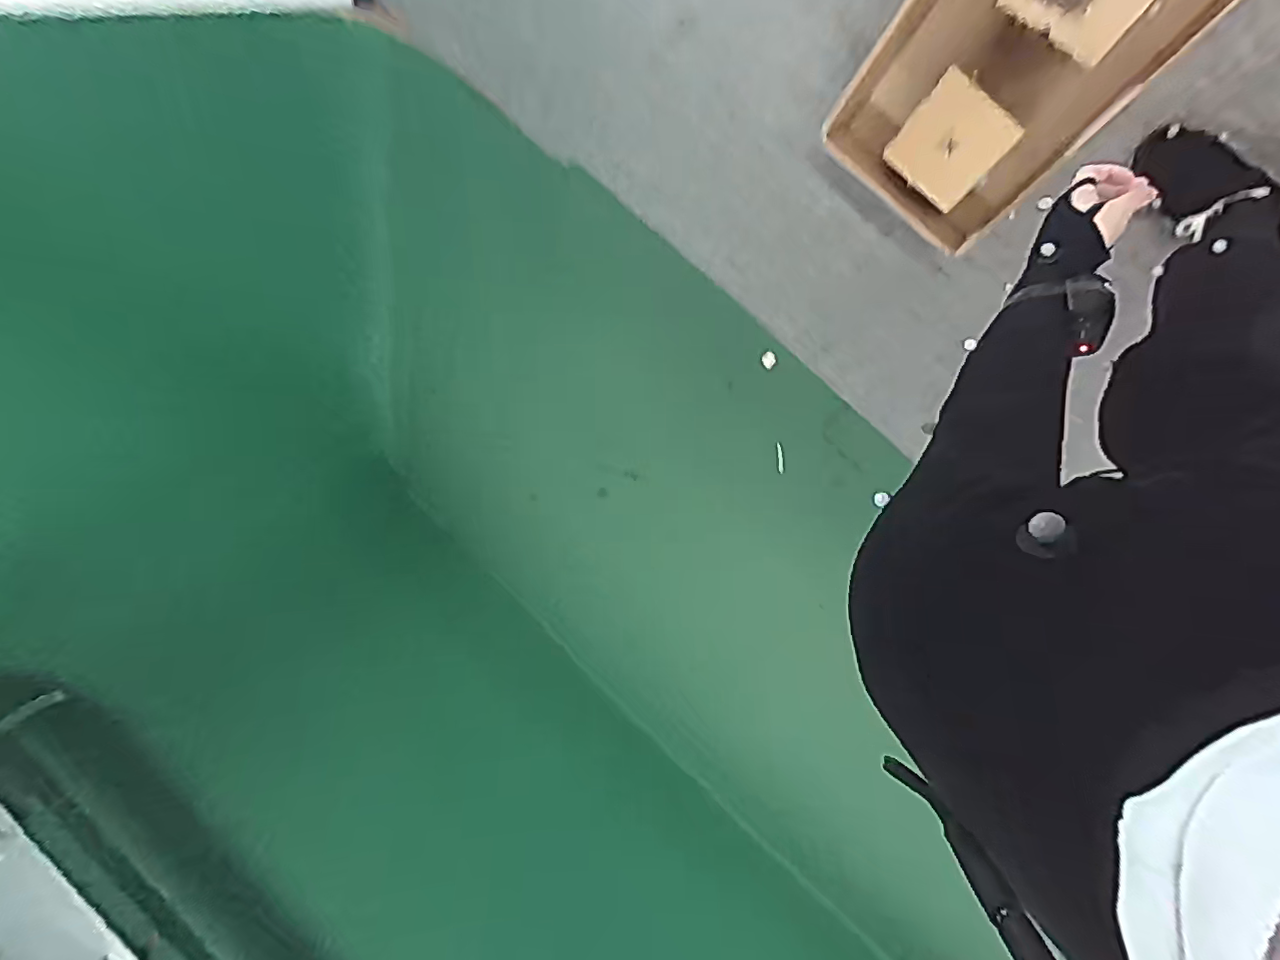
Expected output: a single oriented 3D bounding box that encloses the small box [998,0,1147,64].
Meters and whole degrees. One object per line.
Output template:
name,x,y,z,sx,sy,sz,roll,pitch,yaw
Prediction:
small box,0.637,-0.717,0.738,0.168,0.176,0.179,42,142,4
